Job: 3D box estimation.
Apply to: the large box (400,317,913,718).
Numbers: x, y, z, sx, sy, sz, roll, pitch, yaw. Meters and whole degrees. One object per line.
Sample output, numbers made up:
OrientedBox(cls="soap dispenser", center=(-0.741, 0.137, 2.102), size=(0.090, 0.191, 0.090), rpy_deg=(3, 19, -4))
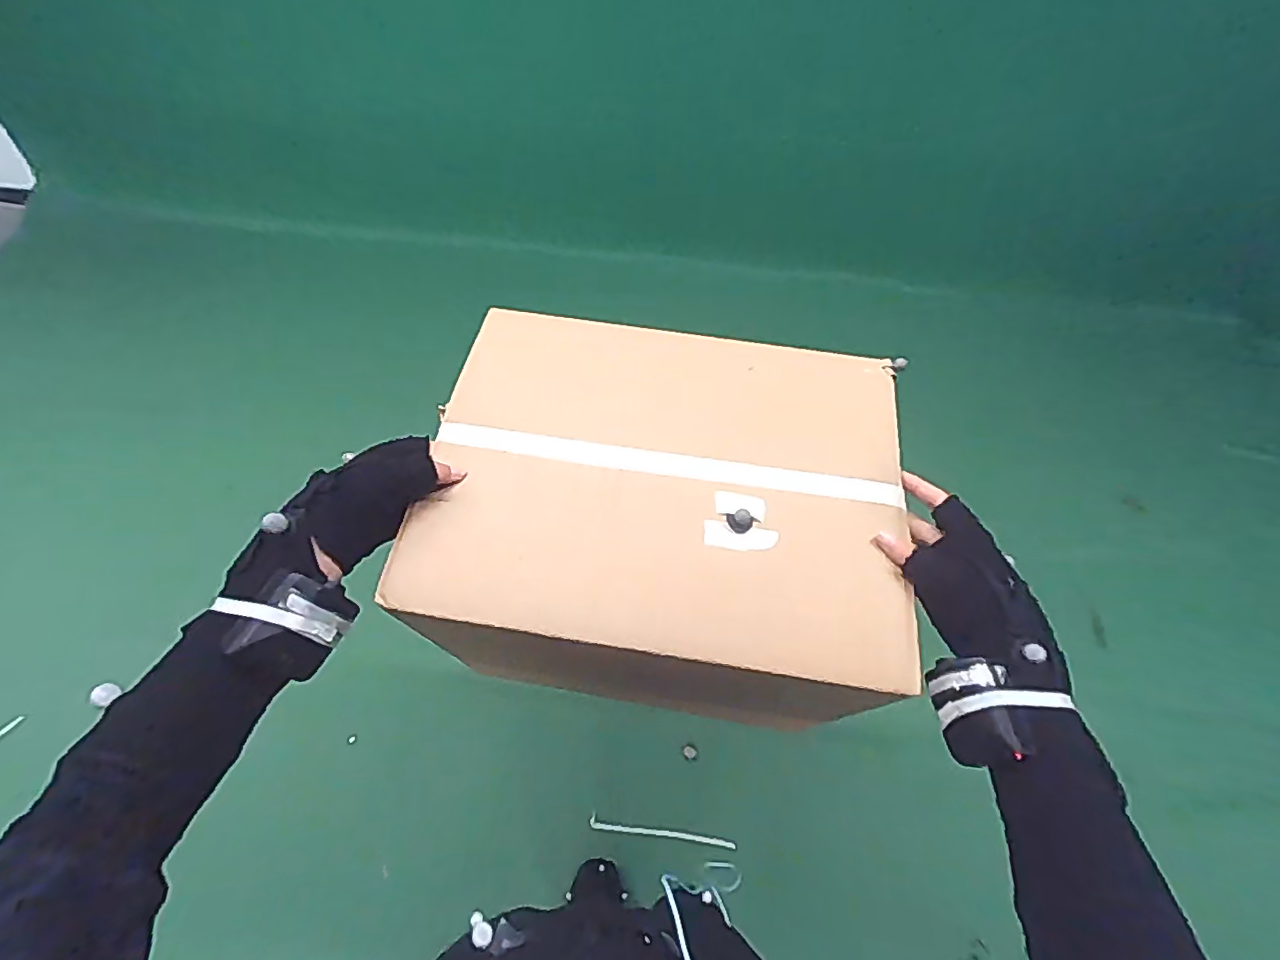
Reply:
OrientedBox(cls="large box", center=(0.023, 0.060, 0.610), size=(0.408, 0.320, 0.320), rpy_deg=(9, 61, 2))
